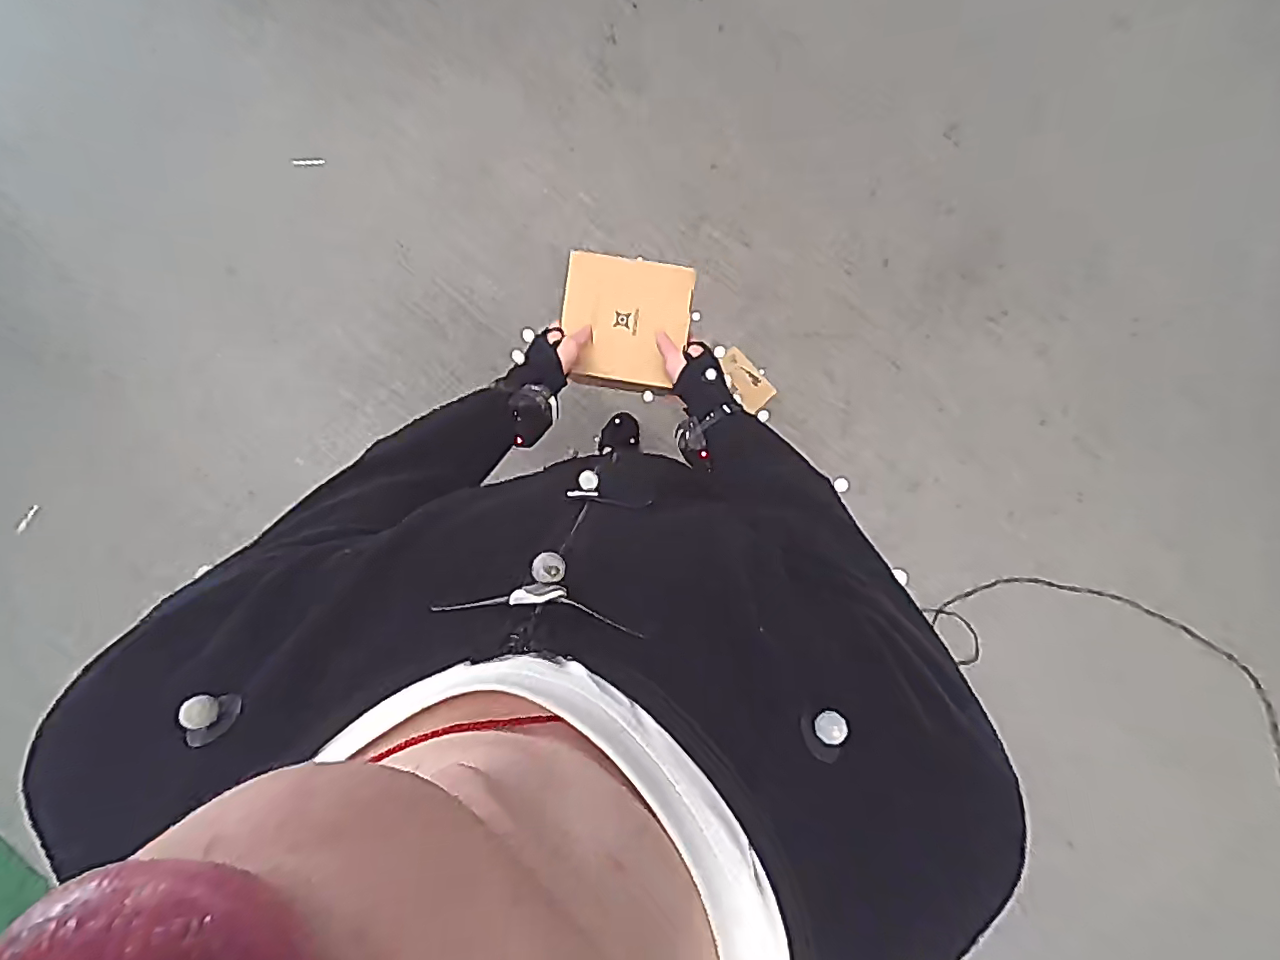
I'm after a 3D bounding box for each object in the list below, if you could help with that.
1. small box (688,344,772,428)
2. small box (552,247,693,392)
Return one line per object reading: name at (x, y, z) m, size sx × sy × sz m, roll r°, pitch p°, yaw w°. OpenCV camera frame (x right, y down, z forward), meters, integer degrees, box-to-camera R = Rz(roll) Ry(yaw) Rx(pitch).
small box at (0.236, -0.244, 1.453) m, size 0.179 × 0.176 × 0.168 m, roll 18°, pitch 91°, yaw 5°
small box at (-0.020, -0.232, 0.822) m, size 0.179 × 0.176 × 0.168 m, roll 9°, pitch 93°, yaw 3°
